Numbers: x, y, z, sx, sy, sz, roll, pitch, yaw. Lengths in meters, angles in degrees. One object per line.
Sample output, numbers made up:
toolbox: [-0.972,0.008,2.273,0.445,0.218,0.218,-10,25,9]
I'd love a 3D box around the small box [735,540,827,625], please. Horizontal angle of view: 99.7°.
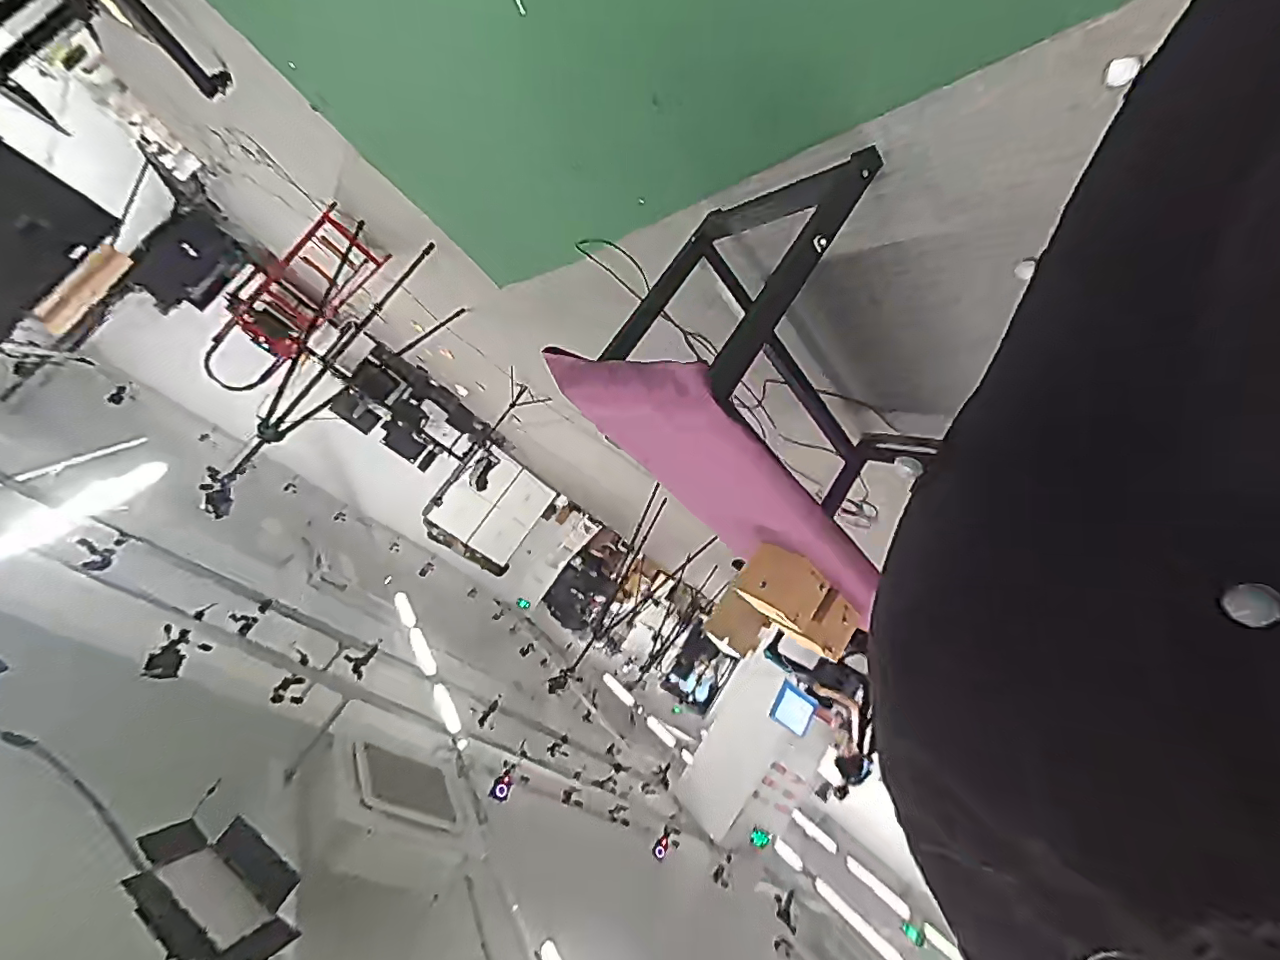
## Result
small box: [0.414,0.290,1.564,0.168,0.176,0.179,37,167,-31]

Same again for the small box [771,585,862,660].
small box: [0.551,0.419,1.677,0.168,0.176,0.179,42,167,-32]
